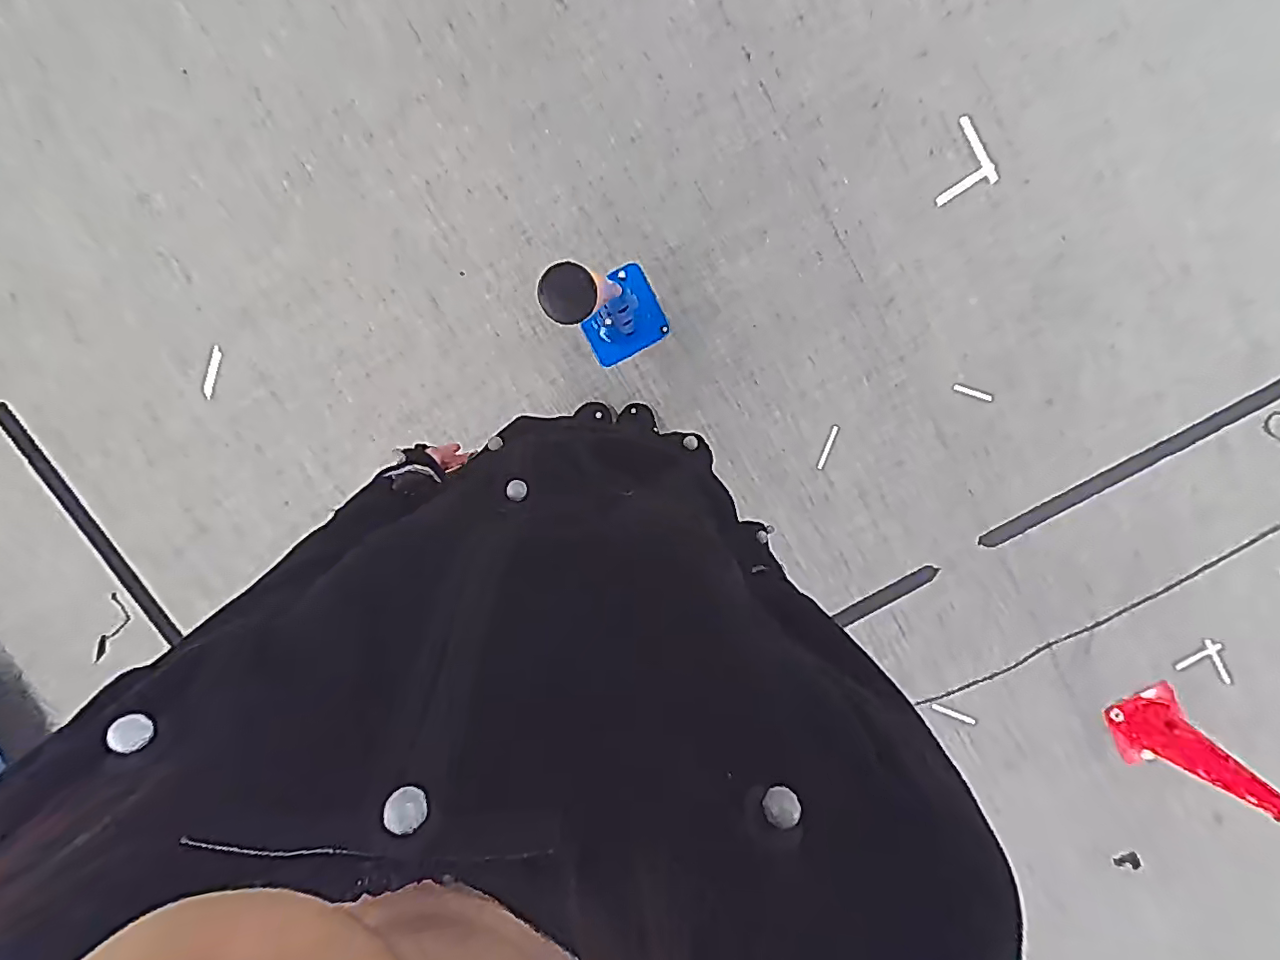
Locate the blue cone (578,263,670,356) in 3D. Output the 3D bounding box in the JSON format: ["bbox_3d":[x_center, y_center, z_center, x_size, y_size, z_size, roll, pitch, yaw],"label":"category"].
[{"bbox_3d":[-0.040,-0.396,1.186,0.192,0.380,0.193,-27,99,3],"label":"blue cone"}]
